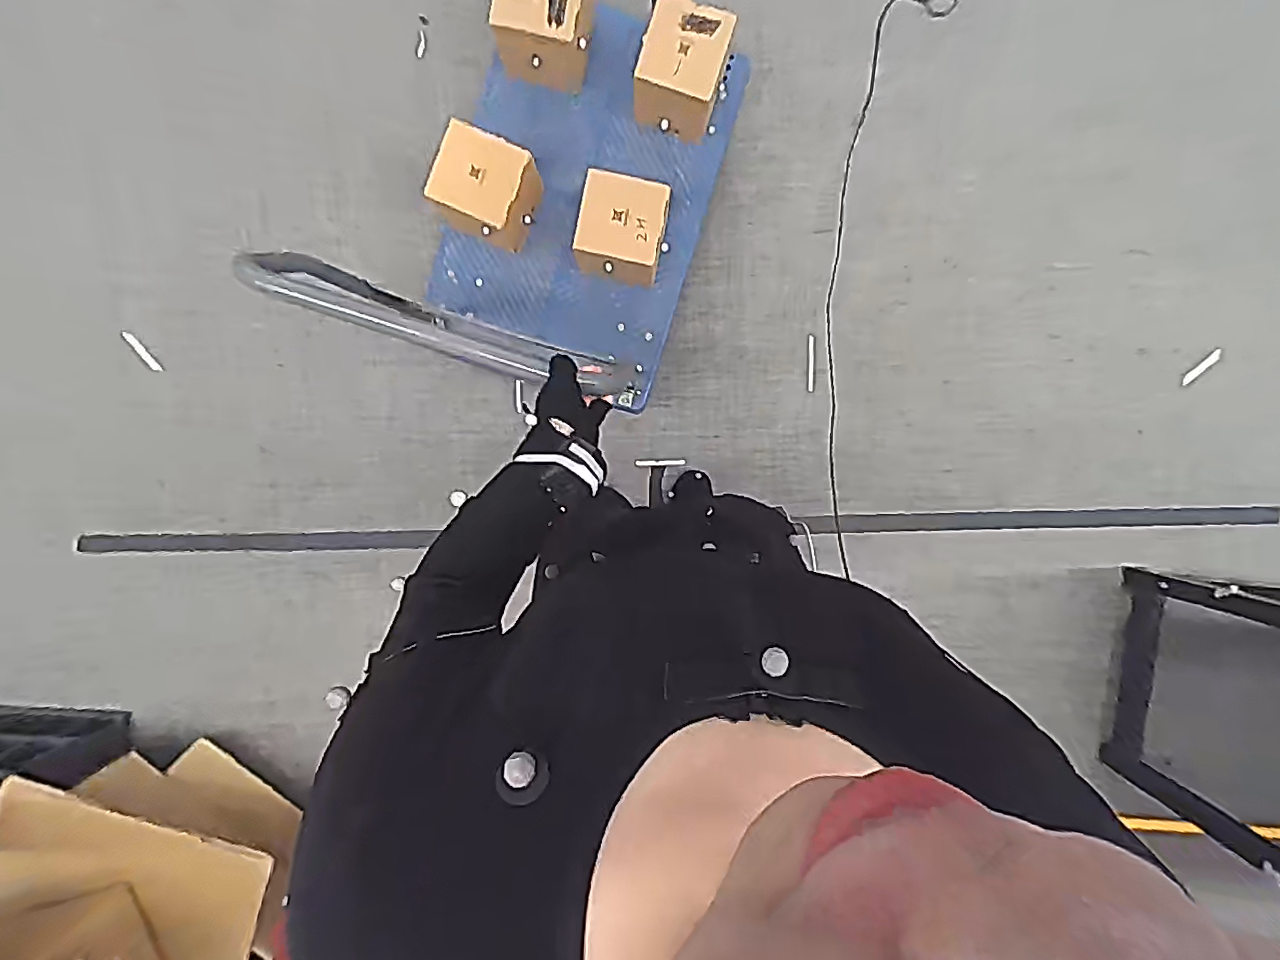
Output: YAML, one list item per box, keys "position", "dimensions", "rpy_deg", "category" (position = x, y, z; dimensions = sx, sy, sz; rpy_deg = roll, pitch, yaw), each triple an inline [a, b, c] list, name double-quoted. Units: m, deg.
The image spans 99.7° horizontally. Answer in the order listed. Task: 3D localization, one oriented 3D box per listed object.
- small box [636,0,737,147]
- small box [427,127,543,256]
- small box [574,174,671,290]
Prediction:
- position: [0.092, -0.872, 1.172]
  dimensions: [0.168, 0.176, 0.179]
  rpy_deg: [18, 95, -1]
  category: "small box"
- position: [-0.332, -0.621, 1.189]
  dimensions: [0.179, 0.176, 0.168]
  rpy_deg: [22, 93, -3]
  category: "small box"
- position: [-0.036, -0.537, 1.195]
  dimensions: [0.179, 0.176, 0.168]
  rpy_deg: [12, 94, -1]
  category: "small box"
